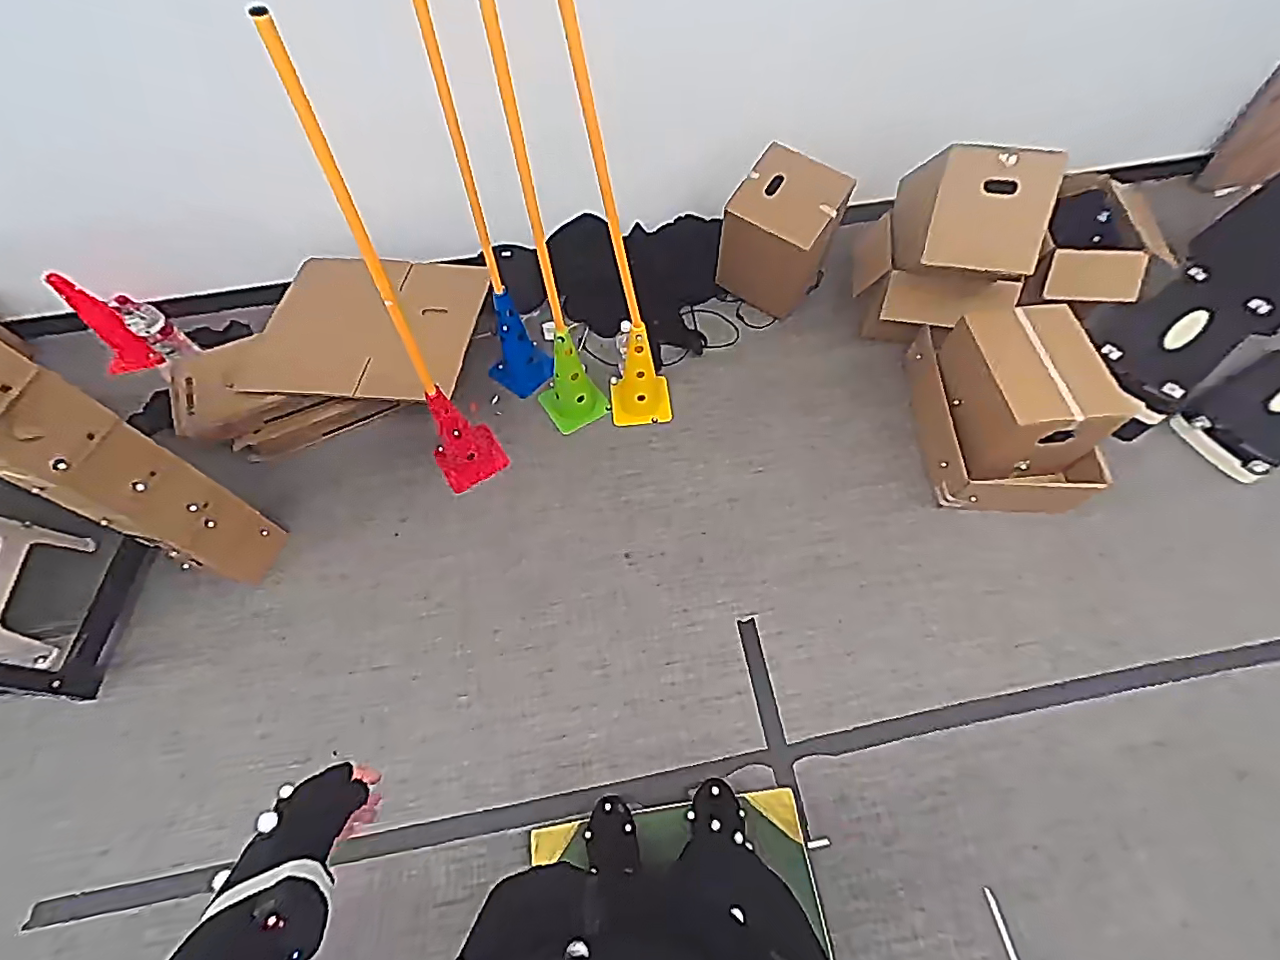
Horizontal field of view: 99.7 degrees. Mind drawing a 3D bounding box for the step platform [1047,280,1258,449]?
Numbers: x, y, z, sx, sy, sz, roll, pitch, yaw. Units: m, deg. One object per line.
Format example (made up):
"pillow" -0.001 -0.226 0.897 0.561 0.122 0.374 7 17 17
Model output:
"step platform" 1.733 -0.403 1.829 0.684 0.204 0.286 -35 66 -16
